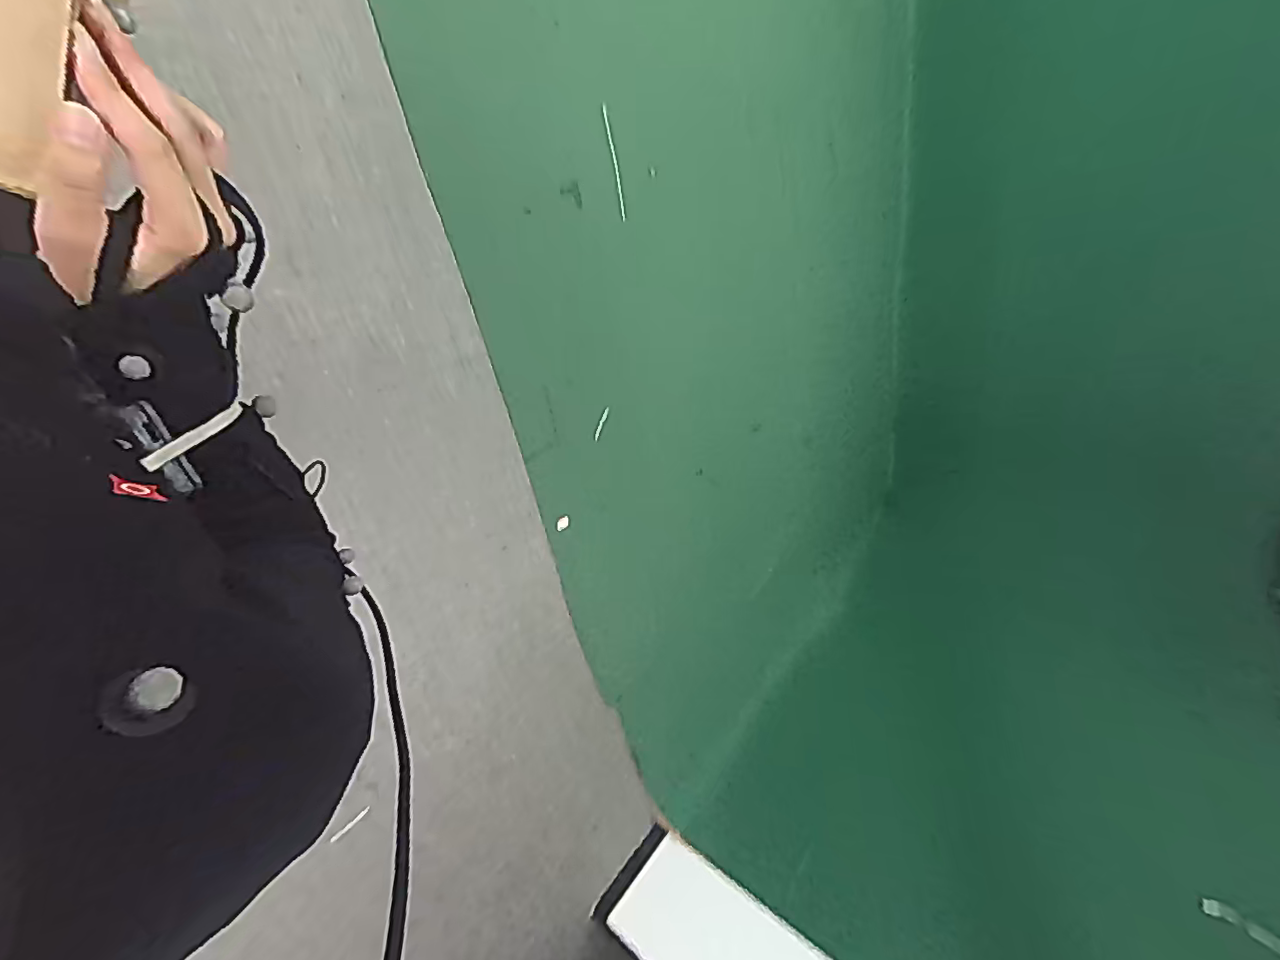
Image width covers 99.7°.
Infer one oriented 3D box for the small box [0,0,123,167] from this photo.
[{"bbox_3d":[-0.312,-0.252,0.202,0.168,0.176,0.179,8,114,-42],"label":"small box"}]
